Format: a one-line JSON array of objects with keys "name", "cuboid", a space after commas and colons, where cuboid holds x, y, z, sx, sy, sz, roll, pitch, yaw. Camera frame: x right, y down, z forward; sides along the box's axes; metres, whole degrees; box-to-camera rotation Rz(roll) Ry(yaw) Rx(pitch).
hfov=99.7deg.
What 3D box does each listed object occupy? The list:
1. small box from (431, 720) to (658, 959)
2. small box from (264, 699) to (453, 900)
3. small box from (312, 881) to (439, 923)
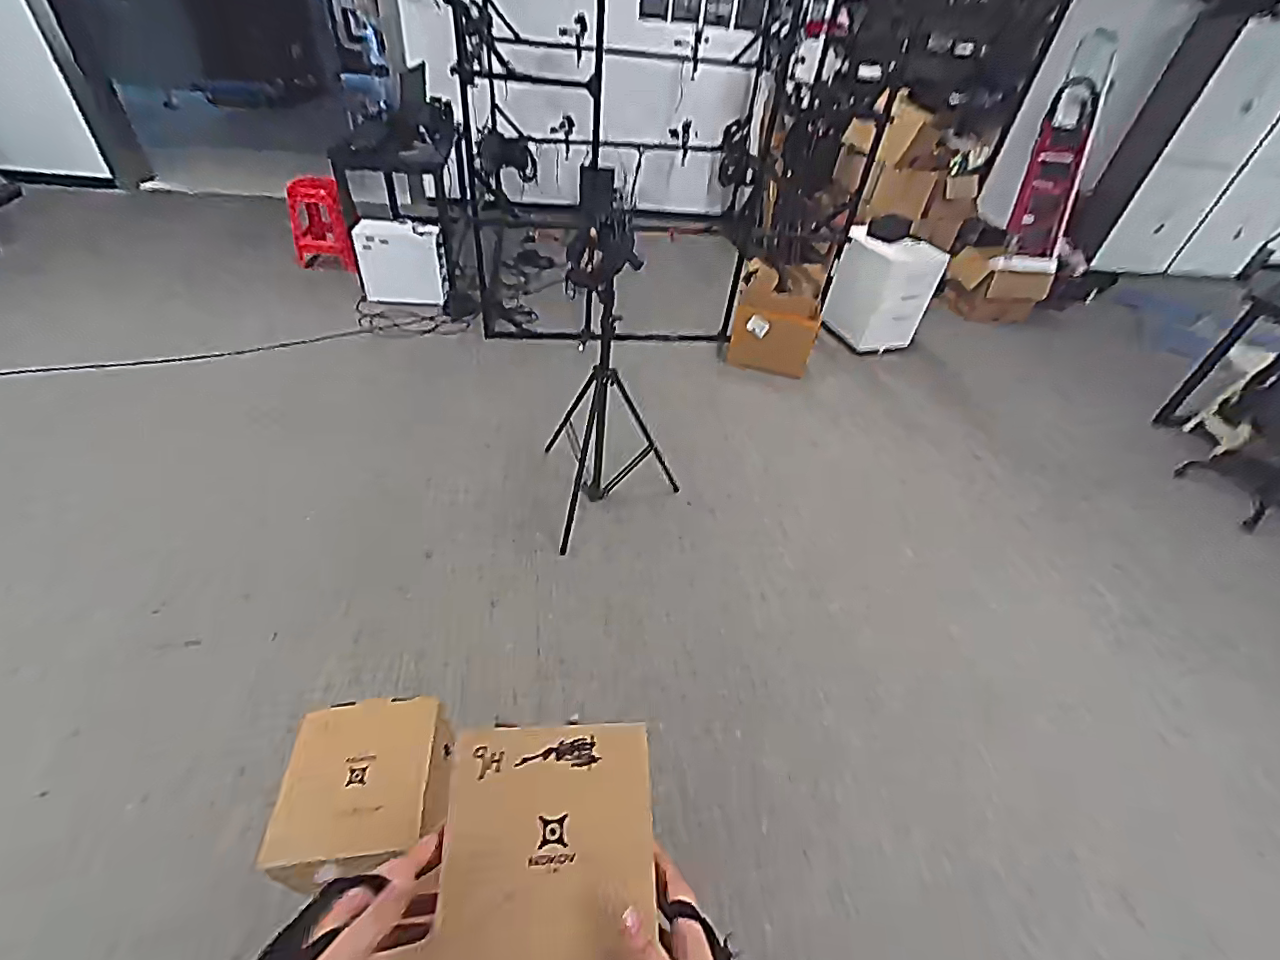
[{"name": "small box", "cuboid": [-0.082, 0.324, 0.490, 0.168, 0.176, 0.179, 1, 59, -10]}, {"name": "small box", "cuboid": [-0.339, 0.412, 0.701, 0.168, 0.176, 0.179, -3, 44, -9]}, {"name": "small box", "cuboid": [-0.355, 0.530, 0.812, 0.168, 0.176, 0.179, -2, 44, -9]}]
